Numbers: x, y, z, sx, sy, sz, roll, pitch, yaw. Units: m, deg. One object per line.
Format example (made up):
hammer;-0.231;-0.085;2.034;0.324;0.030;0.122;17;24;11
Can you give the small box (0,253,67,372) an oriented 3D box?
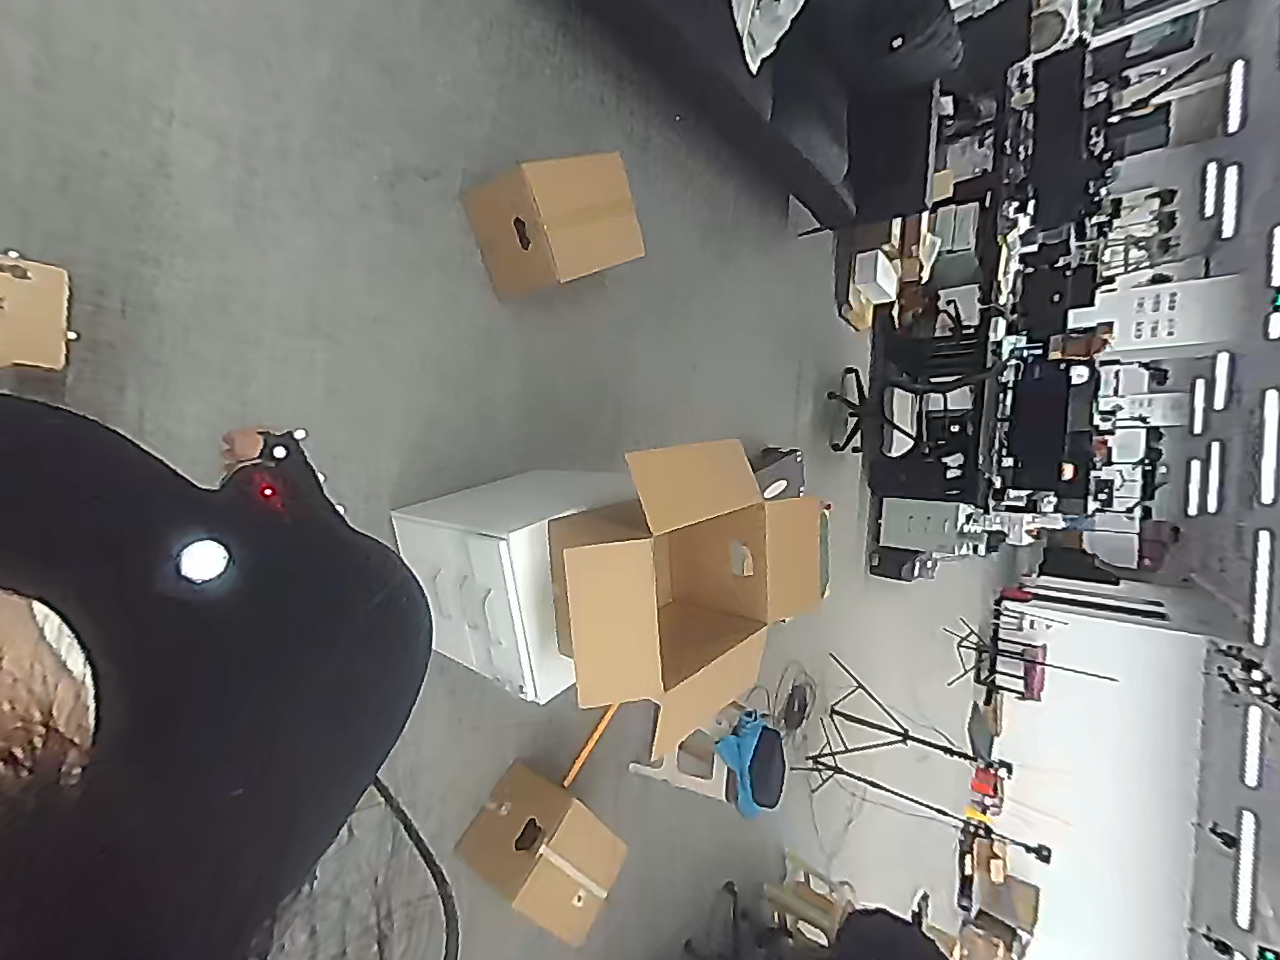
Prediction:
small box;-1.105;-0.286;0.923;0.168;0.176;0.179;3;91;-49
